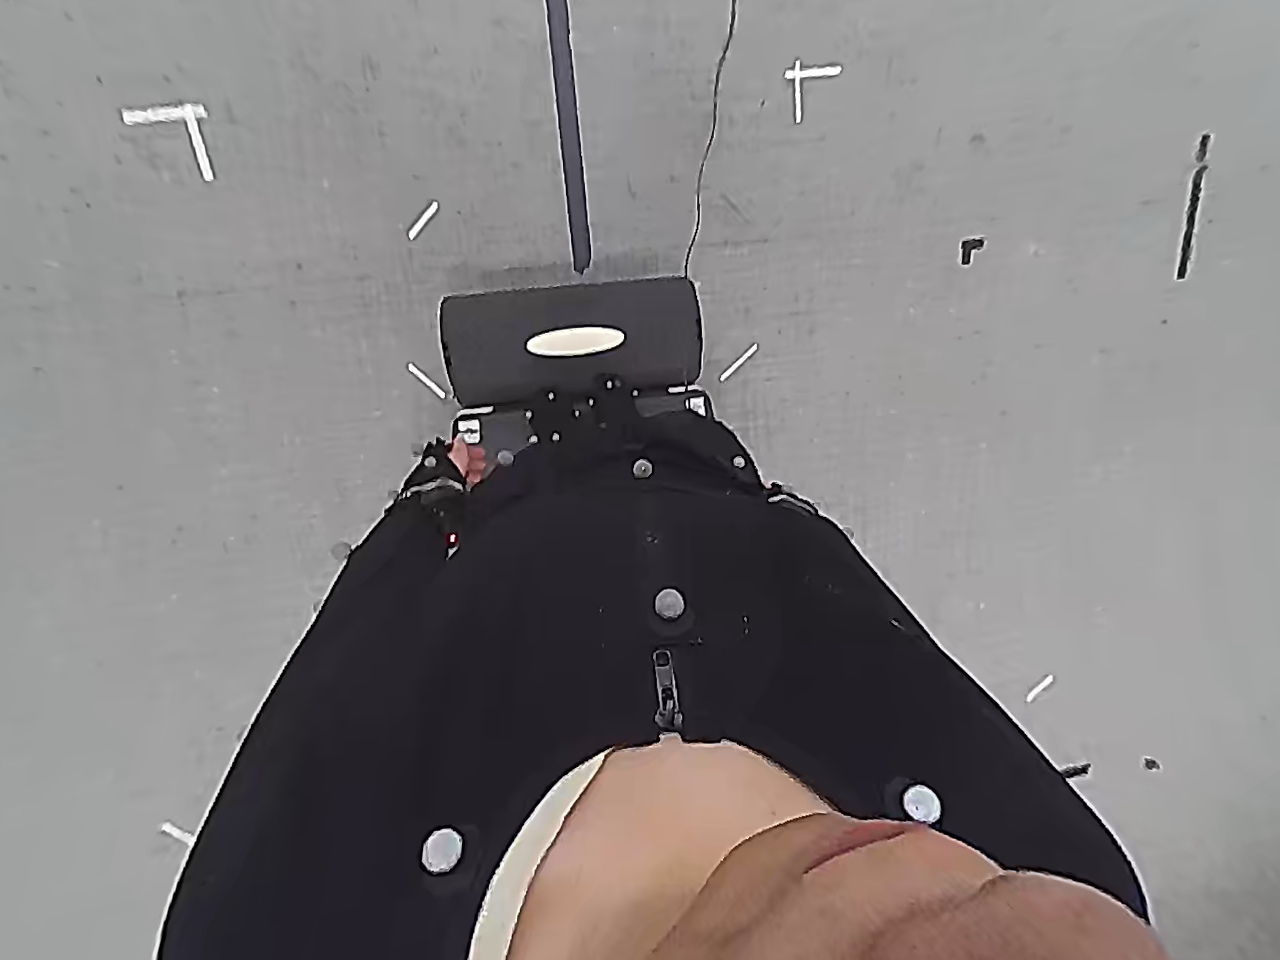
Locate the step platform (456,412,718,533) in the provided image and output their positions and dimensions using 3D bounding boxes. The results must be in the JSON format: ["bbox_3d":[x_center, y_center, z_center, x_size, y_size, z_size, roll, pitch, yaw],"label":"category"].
[{"bbox_3d":[-0.134,-0.024,1.452,0.684,0.204,0.286,-3,102,-6],"label":"step platform"}]
